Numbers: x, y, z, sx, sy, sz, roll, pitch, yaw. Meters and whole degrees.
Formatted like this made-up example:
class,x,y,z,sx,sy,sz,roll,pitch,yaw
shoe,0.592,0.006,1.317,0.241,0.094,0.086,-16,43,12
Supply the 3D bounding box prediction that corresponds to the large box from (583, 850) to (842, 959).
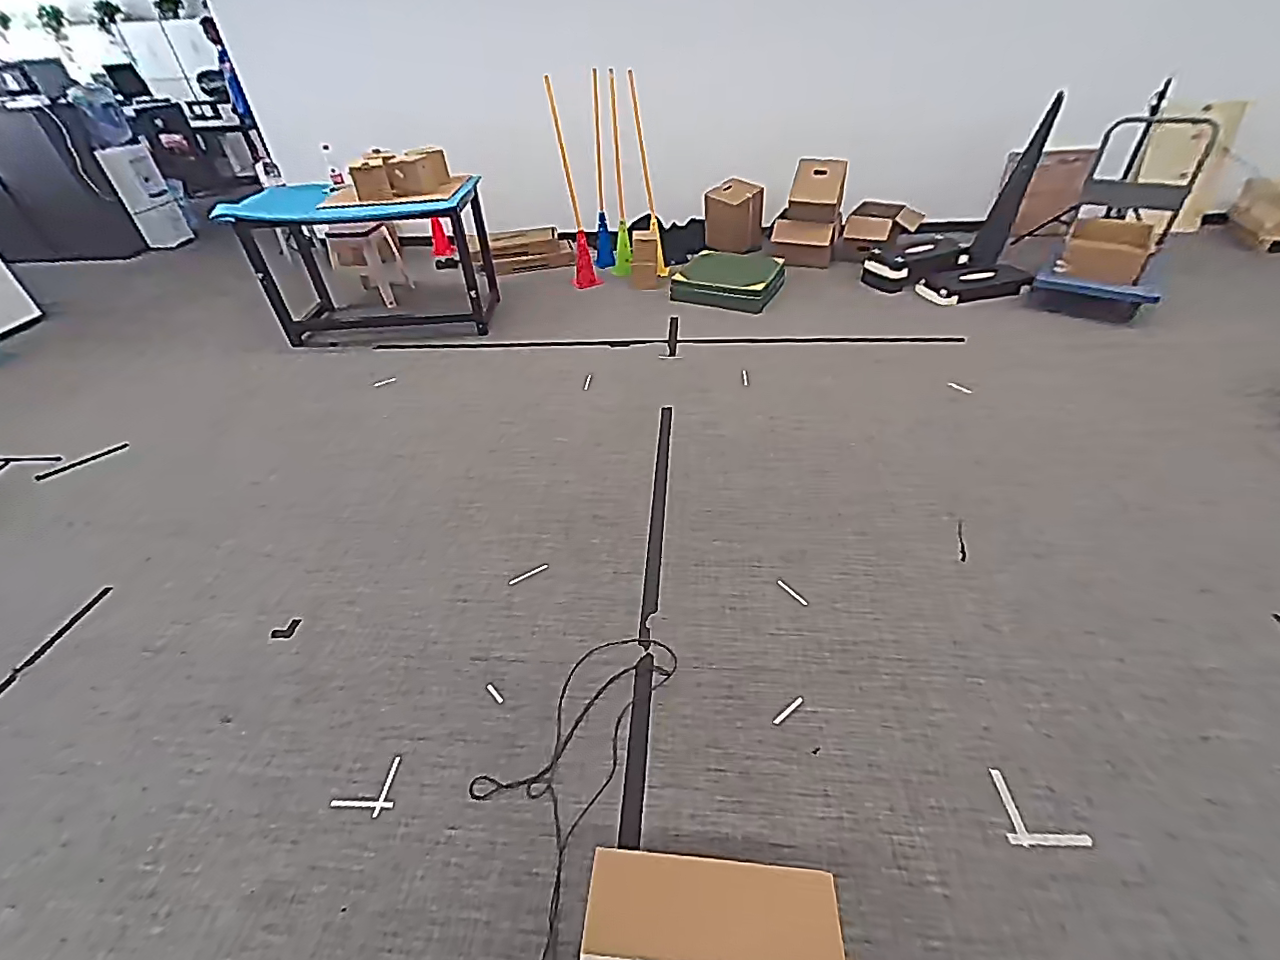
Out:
class,x,y,z,sx,sy,sz,roll,pitch,yaw
large box,0.112,0.867,0.909,0.408,0.320,0.320,2,41,6
